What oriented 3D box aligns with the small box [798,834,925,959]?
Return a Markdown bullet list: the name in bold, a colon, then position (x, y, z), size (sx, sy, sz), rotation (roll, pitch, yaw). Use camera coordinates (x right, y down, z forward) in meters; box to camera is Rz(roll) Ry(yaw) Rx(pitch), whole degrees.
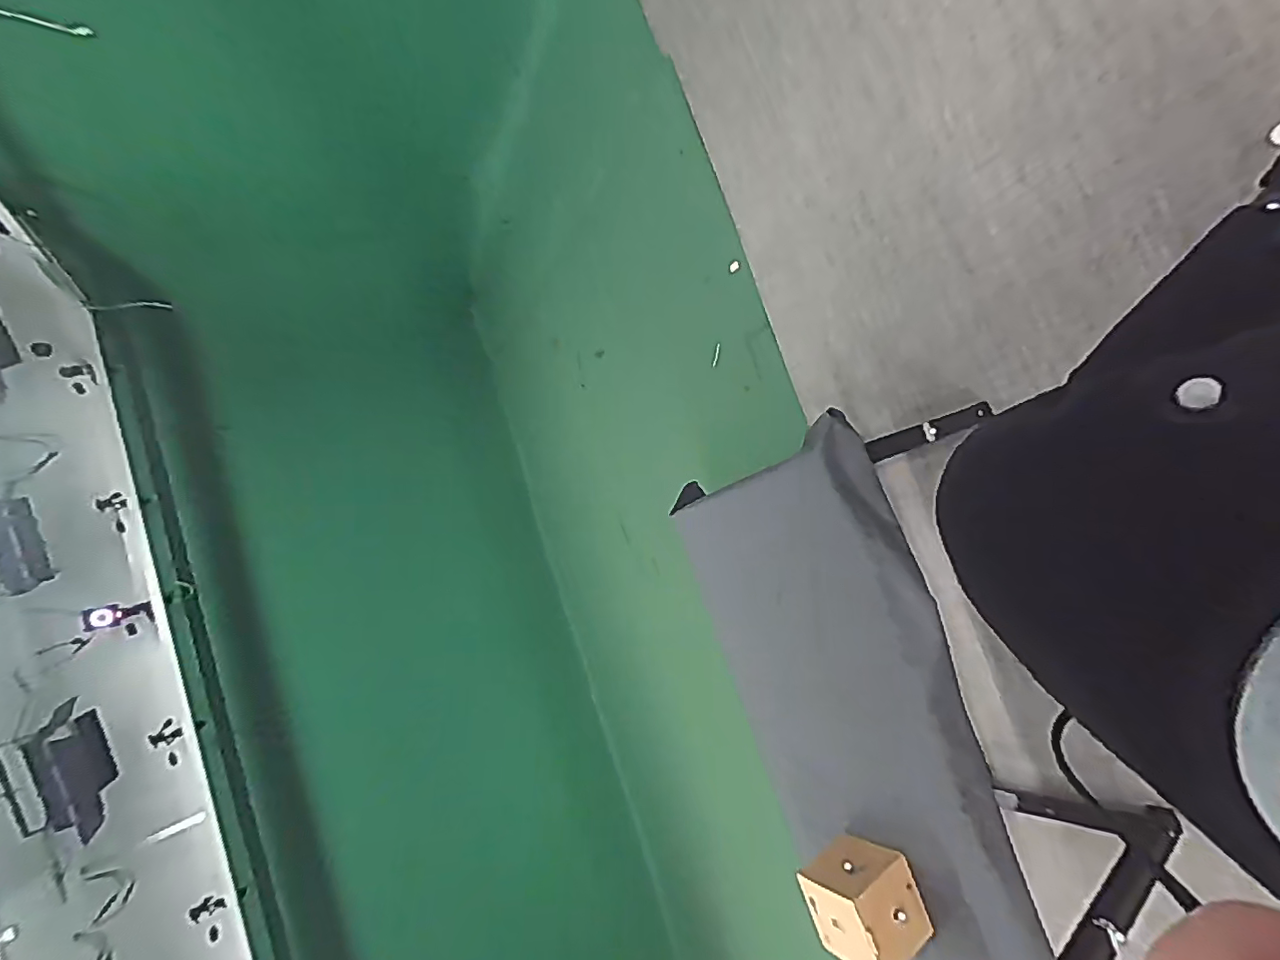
- **small box**: position (0.489, 0.916, 1.183), size (0.179, 0.176, 0.168), rotation (-33, 75, 58)
